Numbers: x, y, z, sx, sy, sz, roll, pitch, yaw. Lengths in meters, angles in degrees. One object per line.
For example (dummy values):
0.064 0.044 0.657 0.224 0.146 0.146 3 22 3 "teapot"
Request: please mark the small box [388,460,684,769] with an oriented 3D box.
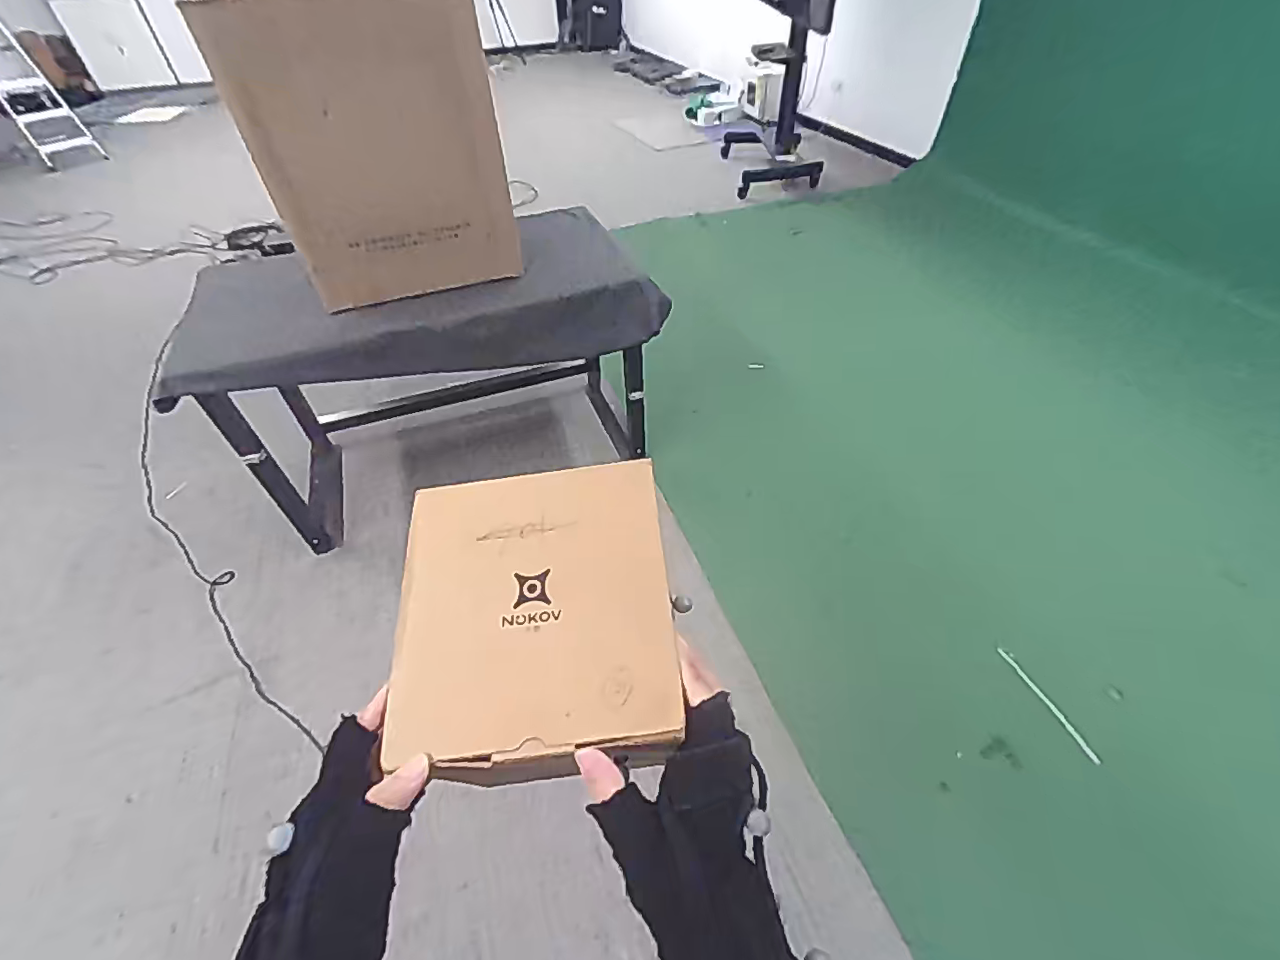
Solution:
-0.060 0.111 0.407 0.168 0.176 0.179 -8 57 1 "small box"
